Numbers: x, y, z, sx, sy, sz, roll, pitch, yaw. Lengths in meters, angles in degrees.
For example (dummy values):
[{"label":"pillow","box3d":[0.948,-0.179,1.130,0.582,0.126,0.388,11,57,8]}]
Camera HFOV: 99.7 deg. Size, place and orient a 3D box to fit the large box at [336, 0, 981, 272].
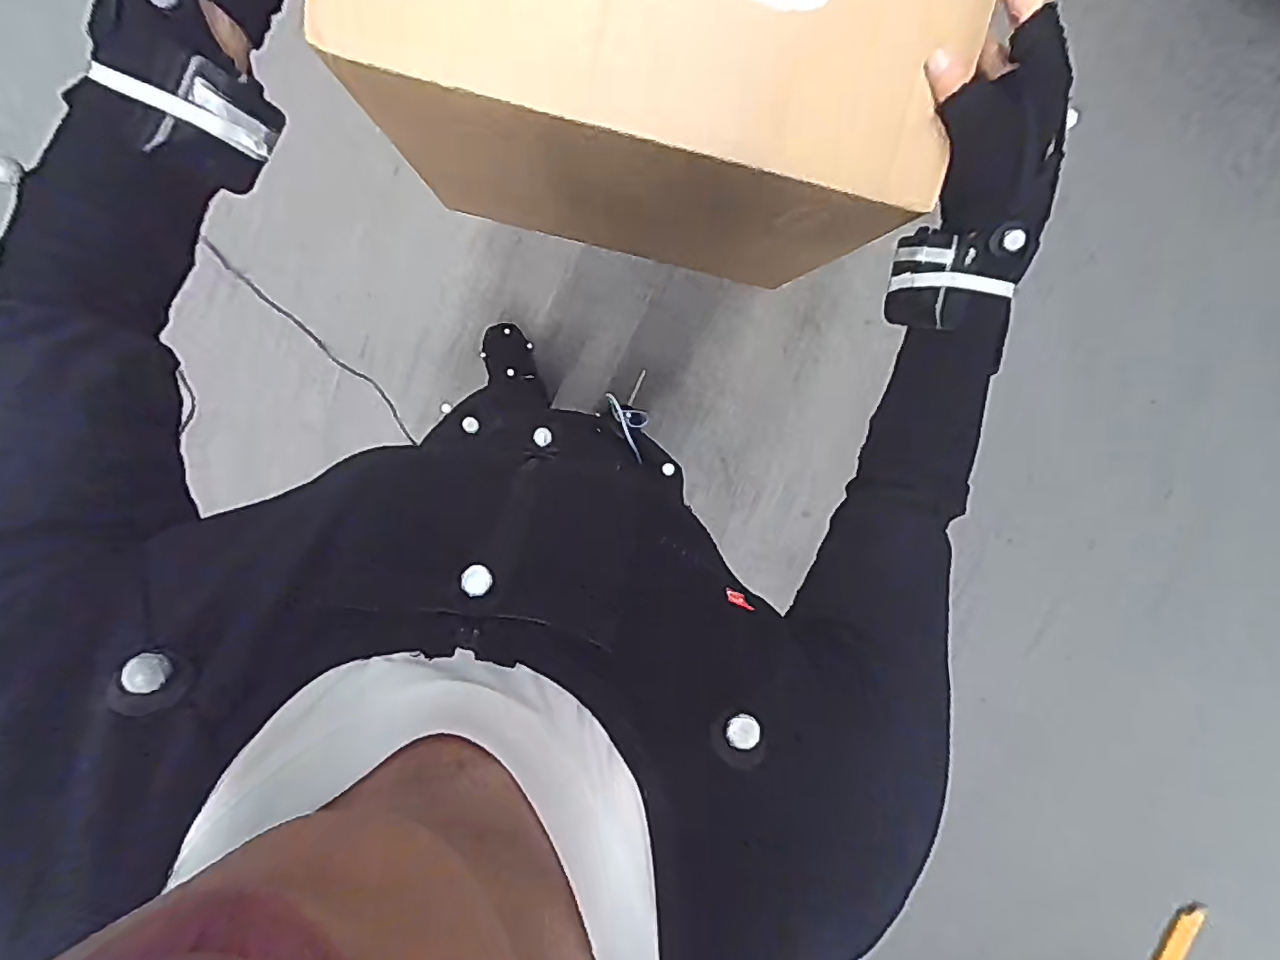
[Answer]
[{"label":"large box","box3d":[0.019,-0.404,0.470,0.408,0.320,0.320,9,100,-8]}]
